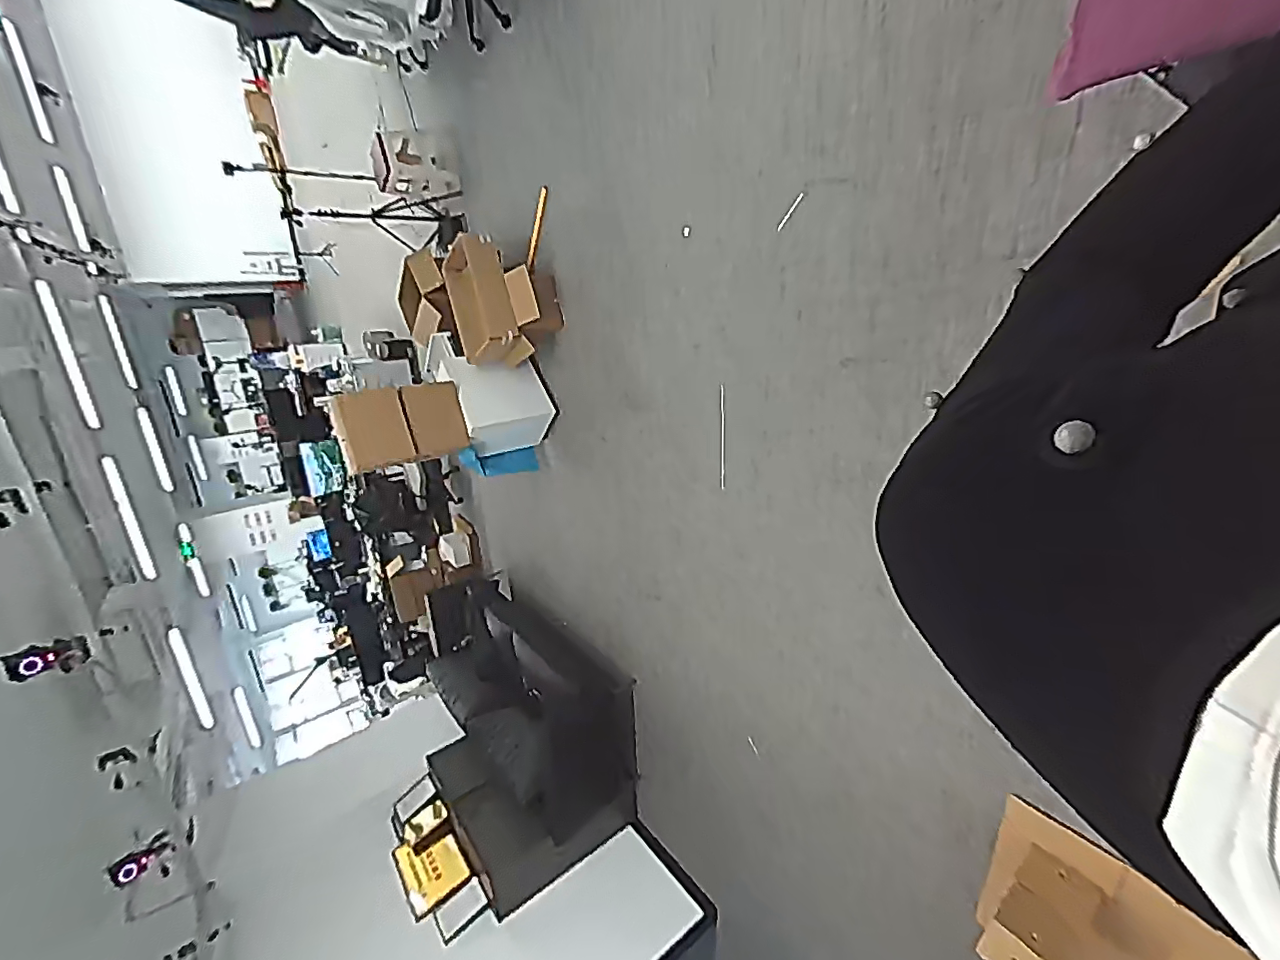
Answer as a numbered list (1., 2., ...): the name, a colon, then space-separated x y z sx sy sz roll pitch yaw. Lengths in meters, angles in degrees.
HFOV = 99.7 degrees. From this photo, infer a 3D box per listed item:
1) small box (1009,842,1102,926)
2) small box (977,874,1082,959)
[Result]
1. small box: 1.223 1.228 1.610 0.179 0.176 0.168 26 125 47
2. small box: 1.095 1.271 1.517 0.179 0.176 0.168 29 125 45
